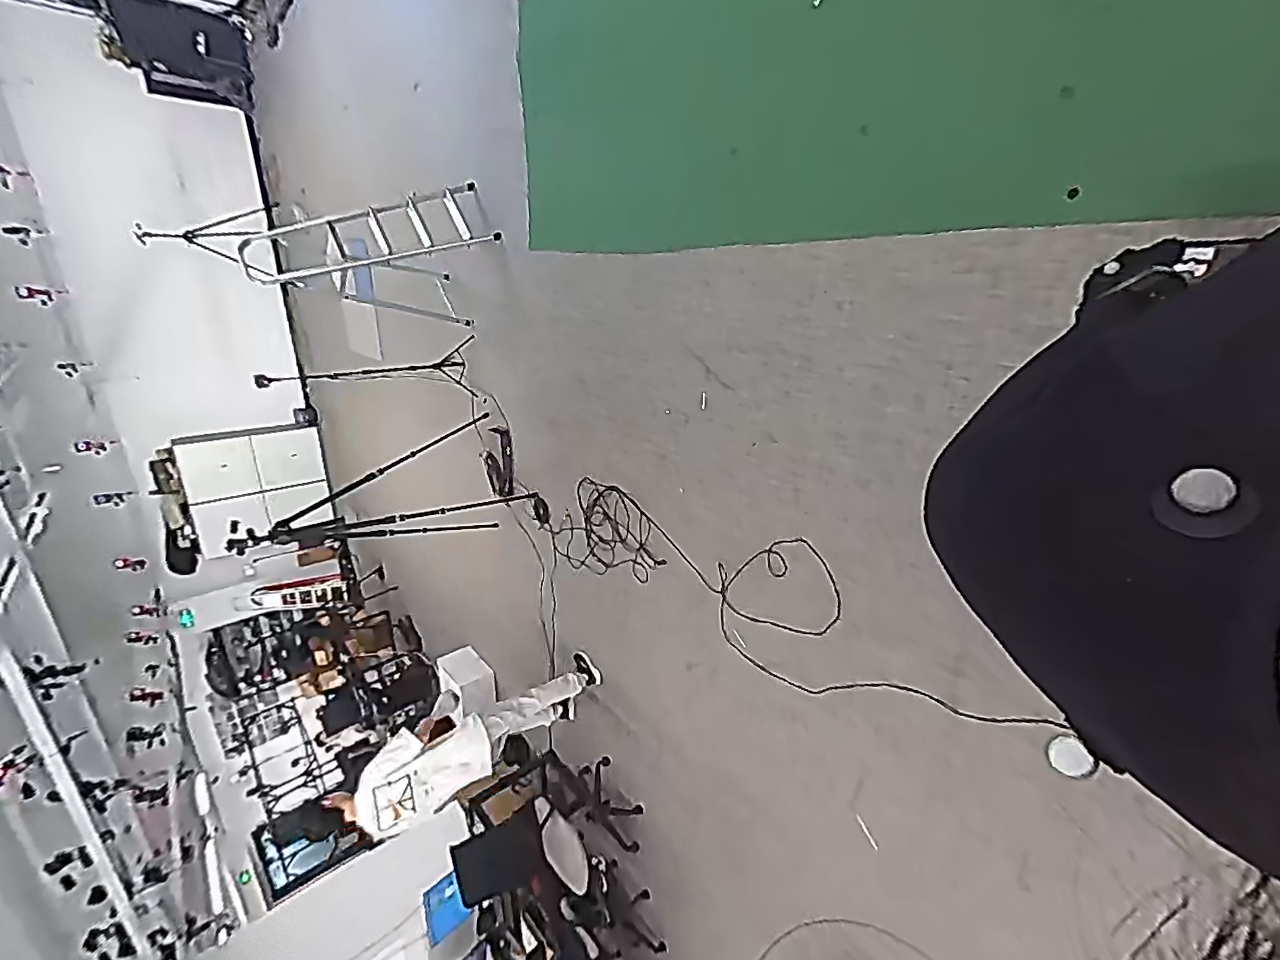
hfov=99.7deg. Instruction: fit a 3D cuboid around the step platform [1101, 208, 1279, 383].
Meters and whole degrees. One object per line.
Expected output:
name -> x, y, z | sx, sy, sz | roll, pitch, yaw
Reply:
step platform -> 1.150, -0.266, 0.799 | 0.684, 0.204, 0.286 | 21, 119, 46
